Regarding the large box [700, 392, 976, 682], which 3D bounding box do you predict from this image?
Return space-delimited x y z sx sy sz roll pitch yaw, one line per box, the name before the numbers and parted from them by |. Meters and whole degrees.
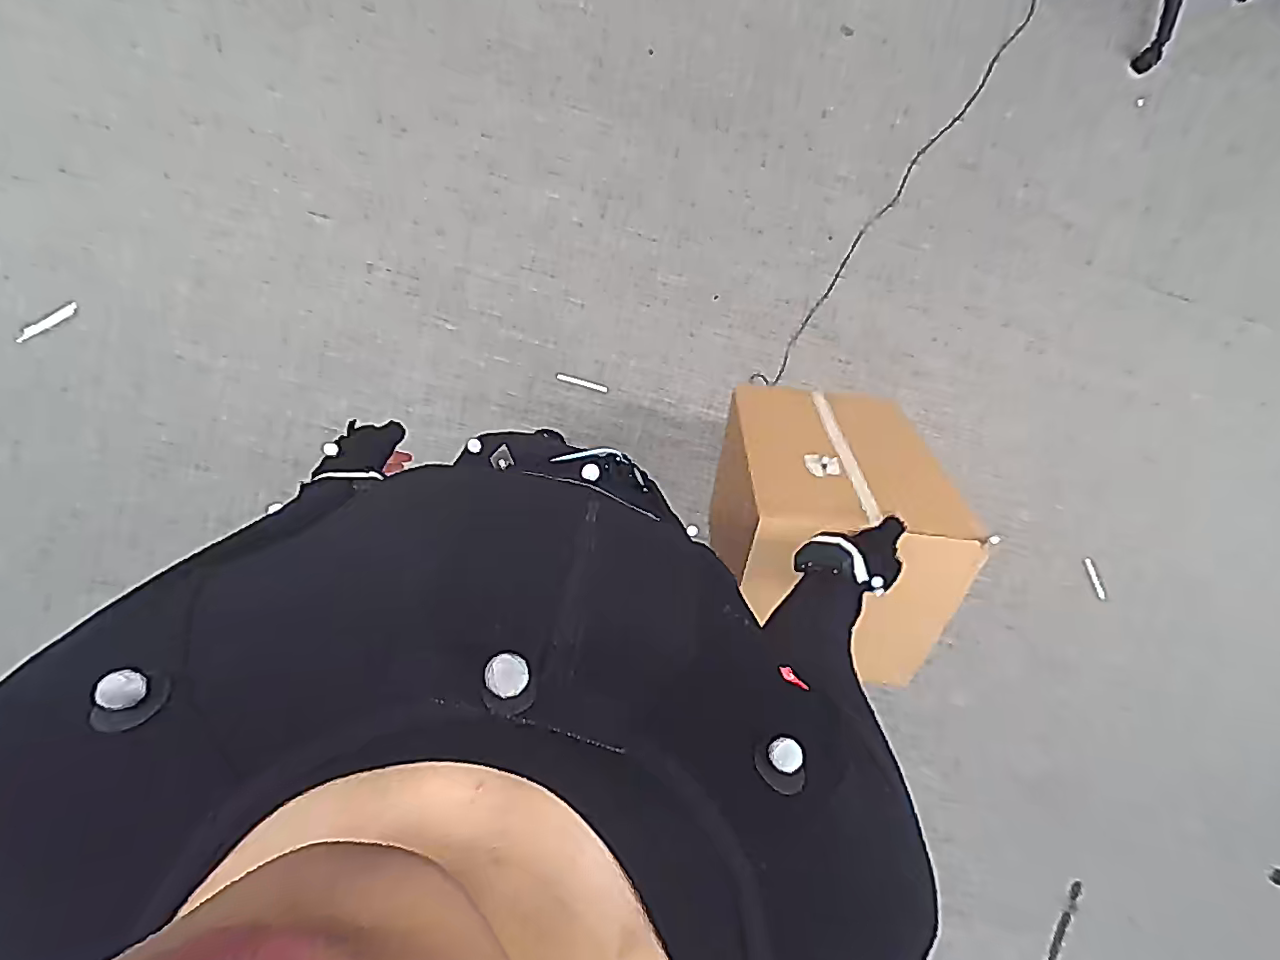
large box | 0.292 0.085 0.966 0.320 0.408 0.320 6 126 -1
